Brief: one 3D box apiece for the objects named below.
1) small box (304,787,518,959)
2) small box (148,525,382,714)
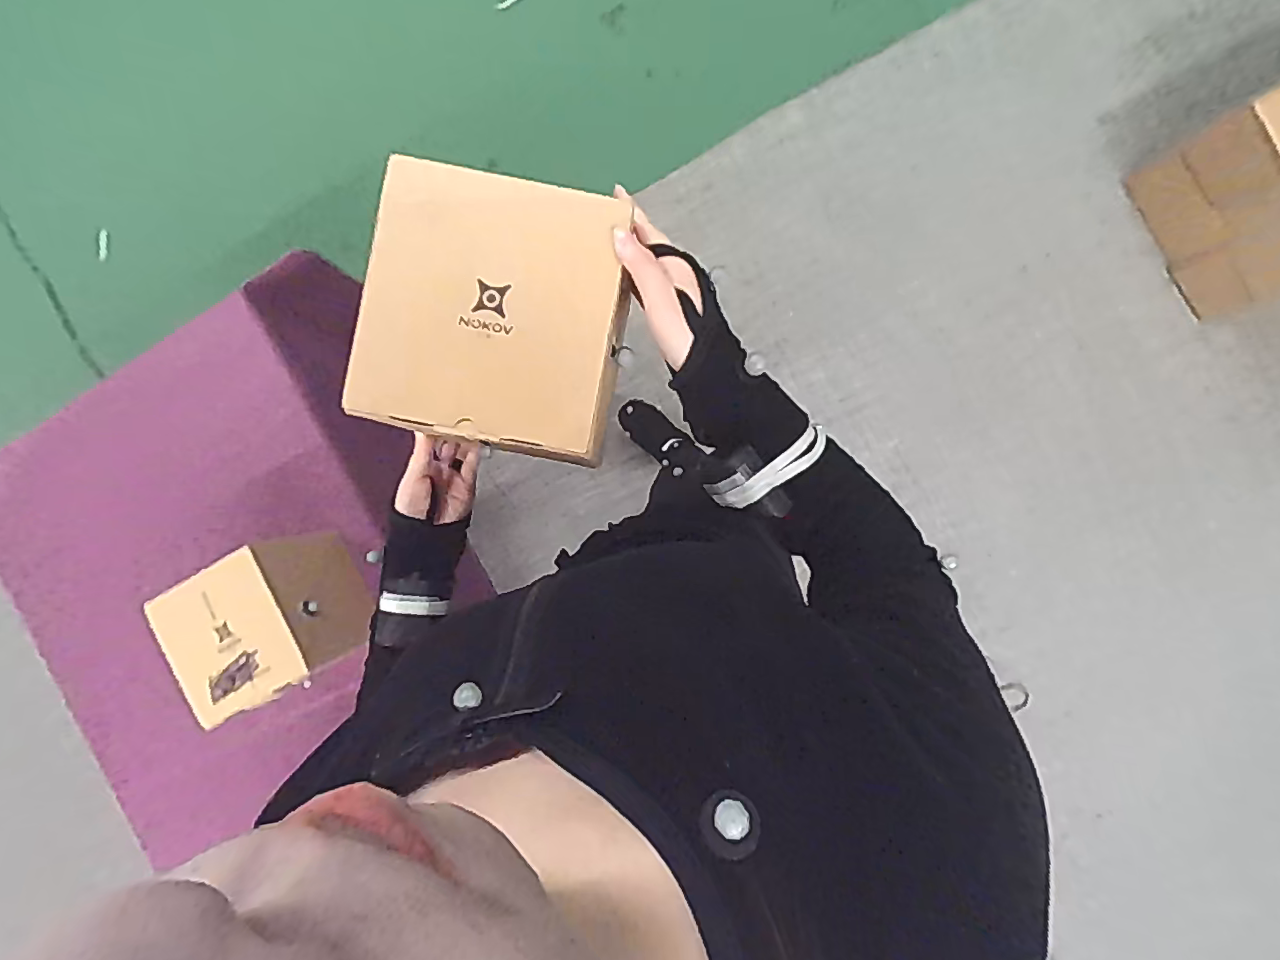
[{"bbox_3d":[-0.296,0.564,0.735,0.179,0.176,0.168,-27,89,7],"label":"small box"},{"bbox_3d":[-0.498,0.178,0.746,0.168,0.176,0.179,-28,88,6],"label":"small box"}]
